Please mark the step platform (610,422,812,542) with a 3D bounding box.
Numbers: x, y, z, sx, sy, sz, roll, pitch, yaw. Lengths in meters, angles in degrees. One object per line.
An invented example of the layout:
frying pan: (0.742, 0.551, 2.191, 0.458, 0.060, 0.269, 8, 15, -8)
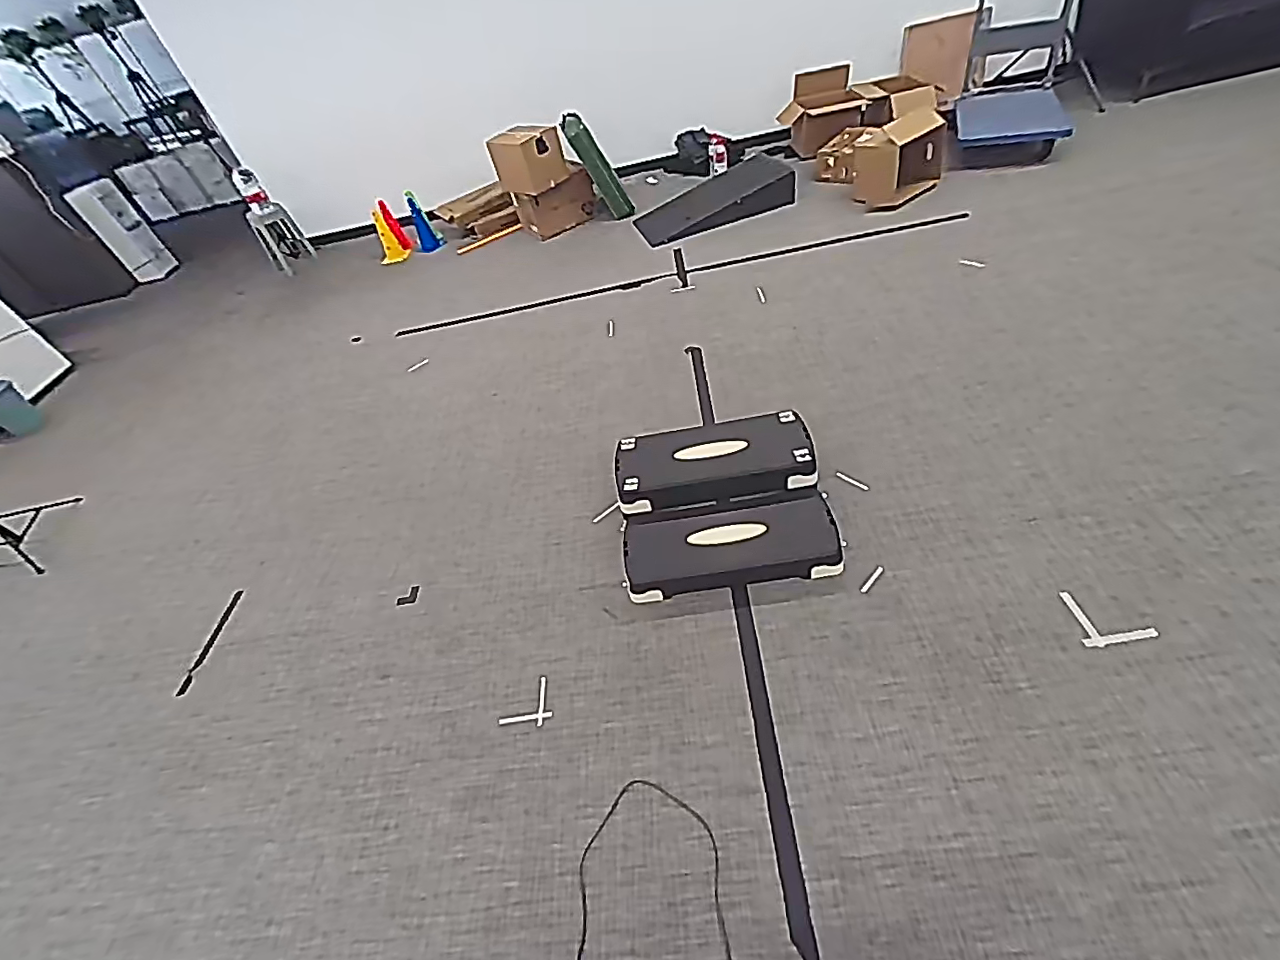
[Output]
step platform: (0.236, 0.001, 1.880, 0.684, 0.204, 0.286, -10, 46, 5)
